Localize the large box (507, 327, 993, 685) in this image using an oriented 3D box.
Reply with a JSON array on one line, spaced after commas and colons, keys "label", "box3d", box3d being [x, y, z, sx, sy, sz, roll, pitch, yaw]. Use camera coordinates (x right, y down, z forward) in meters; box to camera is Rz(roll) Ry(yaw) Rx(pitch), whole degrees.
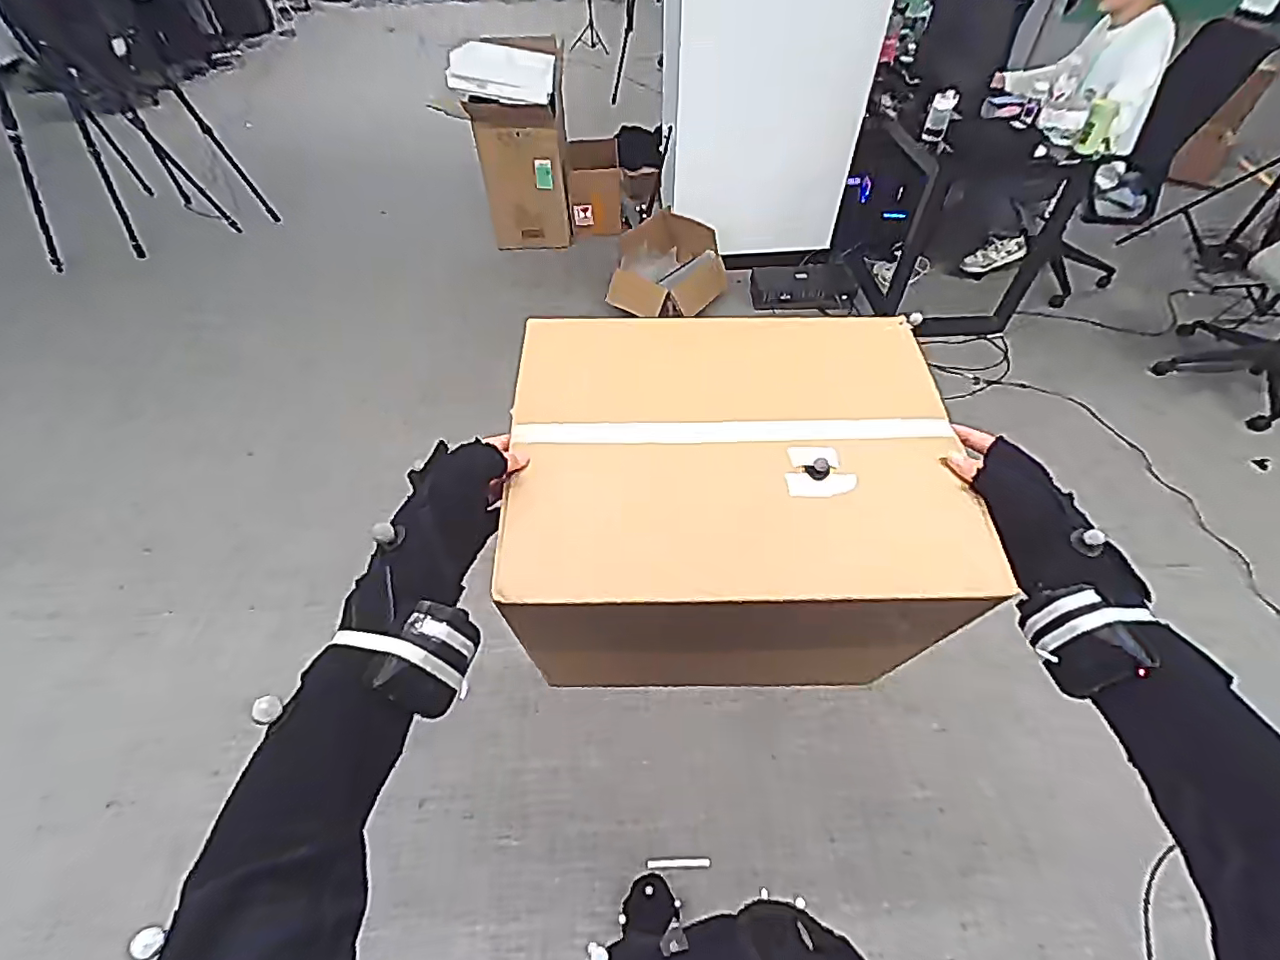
[{"label": "large box", "box3d": [0.083, 0.043, 0.636, 0.408, 0.320, 0.320, -1, 58, -1]}]
